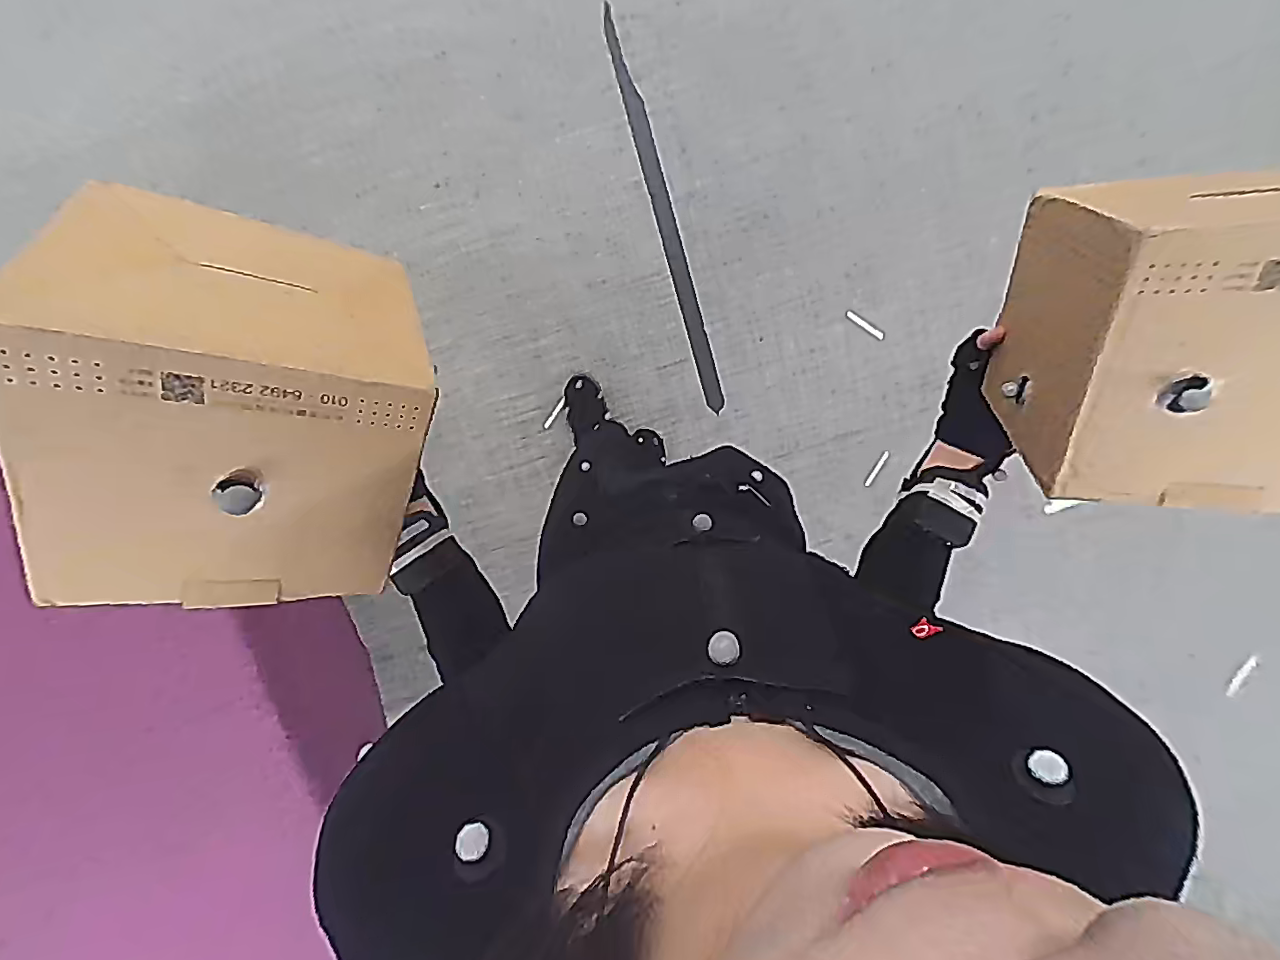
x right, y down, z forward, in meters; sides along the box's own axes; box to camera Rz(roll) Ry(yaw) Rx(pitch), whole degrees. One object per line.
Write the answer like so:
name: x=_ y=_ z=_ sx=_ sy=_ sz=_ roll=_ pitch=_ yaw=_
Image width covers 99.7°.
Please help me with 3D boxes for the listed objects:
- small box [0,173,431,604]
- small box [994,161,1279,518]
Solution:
small box: x=-0.231 y=-0.052 z=0.319 sx=0.168 sy=0.179 sz=0.176 roll=6 pitch=126 yaw=-34
small box: x=0.356 y=-0.094 z=0.341 sx=0.168 sy=0.179 sz=0.176 roll=5 pitch=125 yaw=16
